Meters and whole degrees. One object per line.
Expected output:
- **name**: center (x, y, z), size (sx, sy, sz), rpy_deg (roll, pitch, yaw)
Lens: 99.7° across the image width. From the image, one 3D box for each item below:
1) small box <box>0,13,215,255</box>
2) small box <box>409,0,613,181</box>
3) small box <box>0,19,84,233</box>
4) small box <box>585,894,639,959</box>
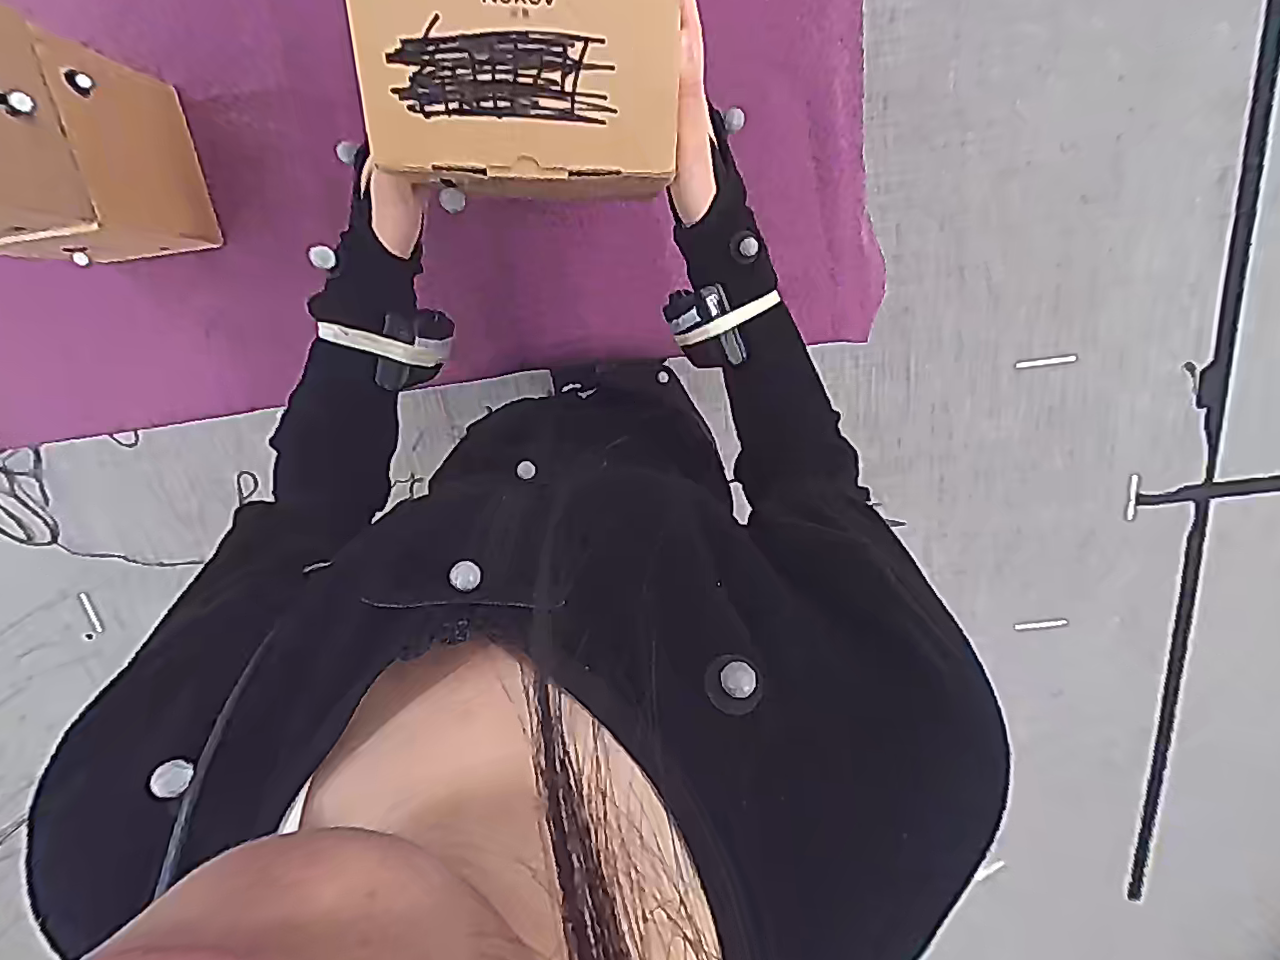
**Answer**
- **small box**: center (-0.613, -0.344, 0.579), size (0.168, 0.176, 0.179), rpy_deg (-6, 107, 3)
- **small box**: center (-0.116, -0.421, 0.545), size (0.168, 0.176, 0.179), rpy_deg (-1, 107, 2)
- **small box**: center (-0.616, -0.301, 0.421), size (0.168, 0.176, 0.179), rpy_deg (-7, 106, 3)
- **small box**: center (-0.097, 1.636, 1.954), size (0.168, 0.176, 0.179), rpy_deg (-8, 108, 5)
